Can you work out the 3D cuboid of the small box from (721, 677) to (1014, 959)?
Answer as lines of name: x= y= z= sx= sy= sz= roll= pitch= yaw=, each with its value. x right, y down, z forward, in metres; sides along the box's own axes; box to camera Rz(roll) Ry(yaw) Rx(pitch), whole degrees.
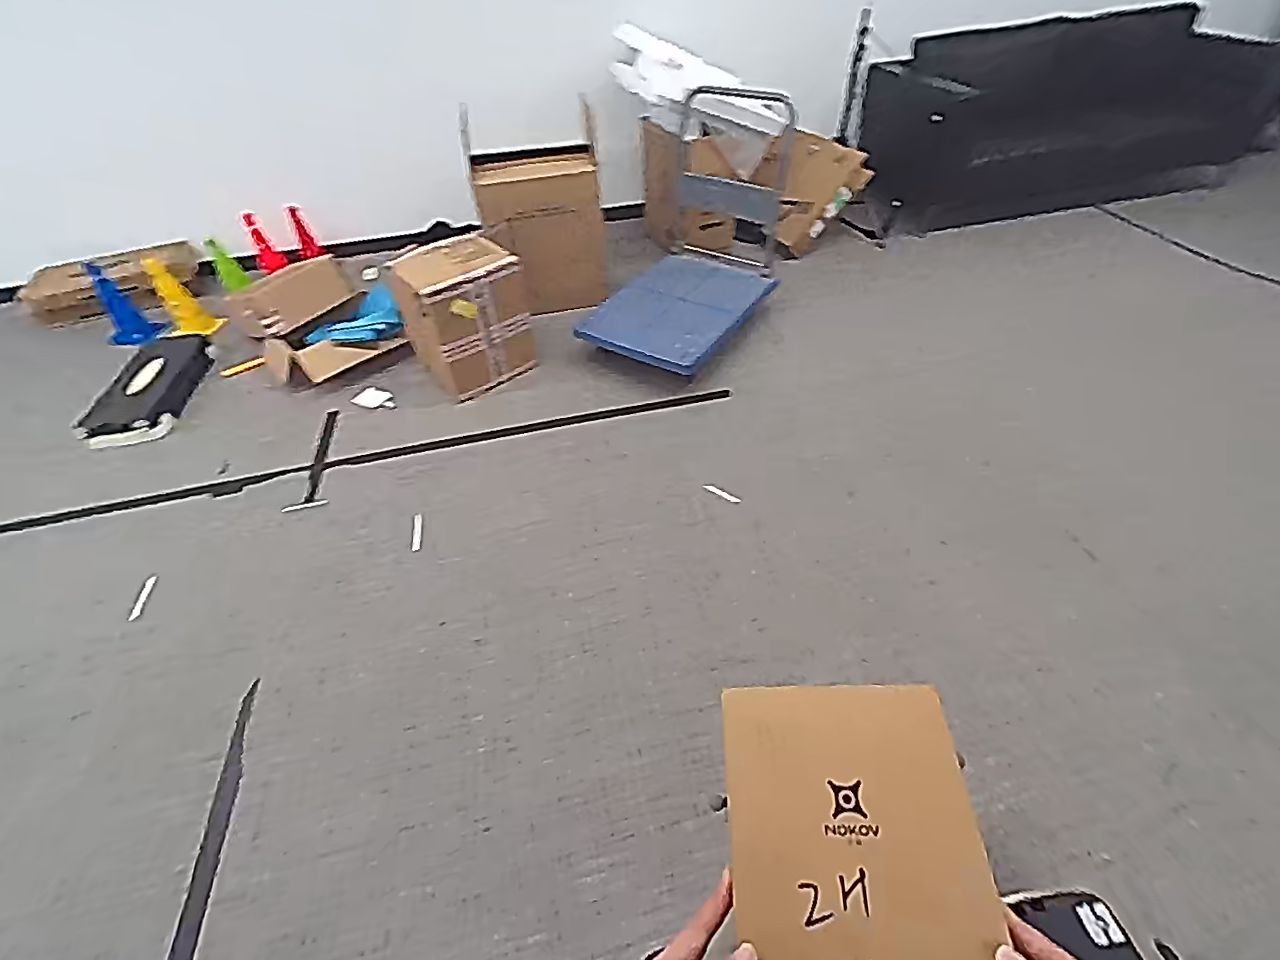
small box: x=0.153 y=0.275 z=0.434 sx=0.168 sy=0.176 sz=0.179 roll=-4 pitch=51 yaw=9

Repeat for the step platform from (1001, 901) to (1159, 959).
step platform: x=0.751 y=1.012 z=0.739 sx=0.286 sy=0.204 sz=0.684 roll=-11 pitch=46 yaw=-7
